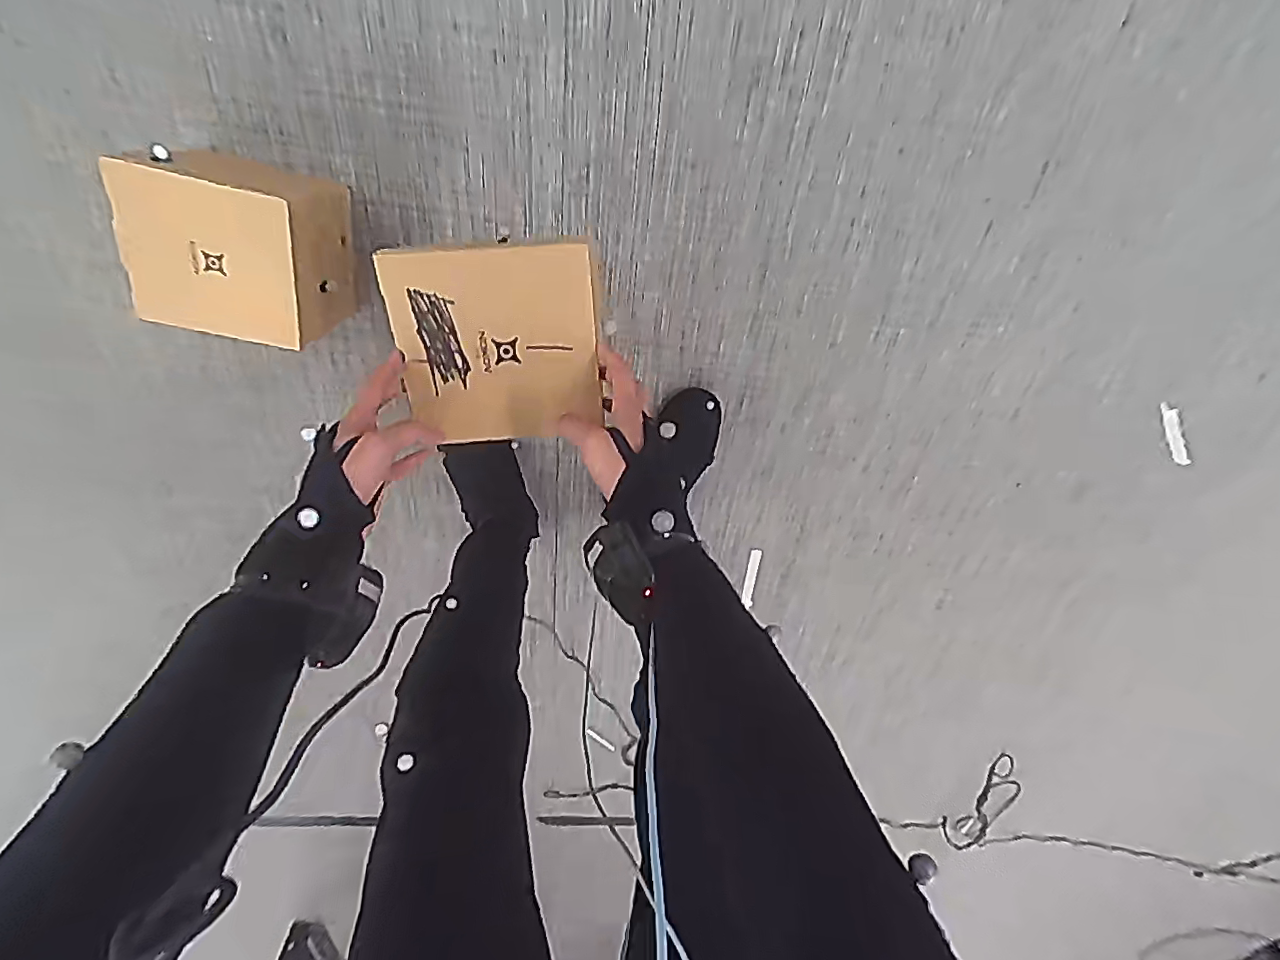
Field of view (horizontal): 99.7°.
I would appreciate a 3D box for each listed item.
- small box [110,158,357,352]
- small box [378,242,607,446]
[{"bbox_3d":[-0.459,-0.276,0.652,0.179,0.176,0.168,11,121,-9],"label":"small box"},{"bbox_3d":[-0.125,-0.143,0.539,0.179,0.176,0.168,-3,117,-2],"label":"small box"}]
